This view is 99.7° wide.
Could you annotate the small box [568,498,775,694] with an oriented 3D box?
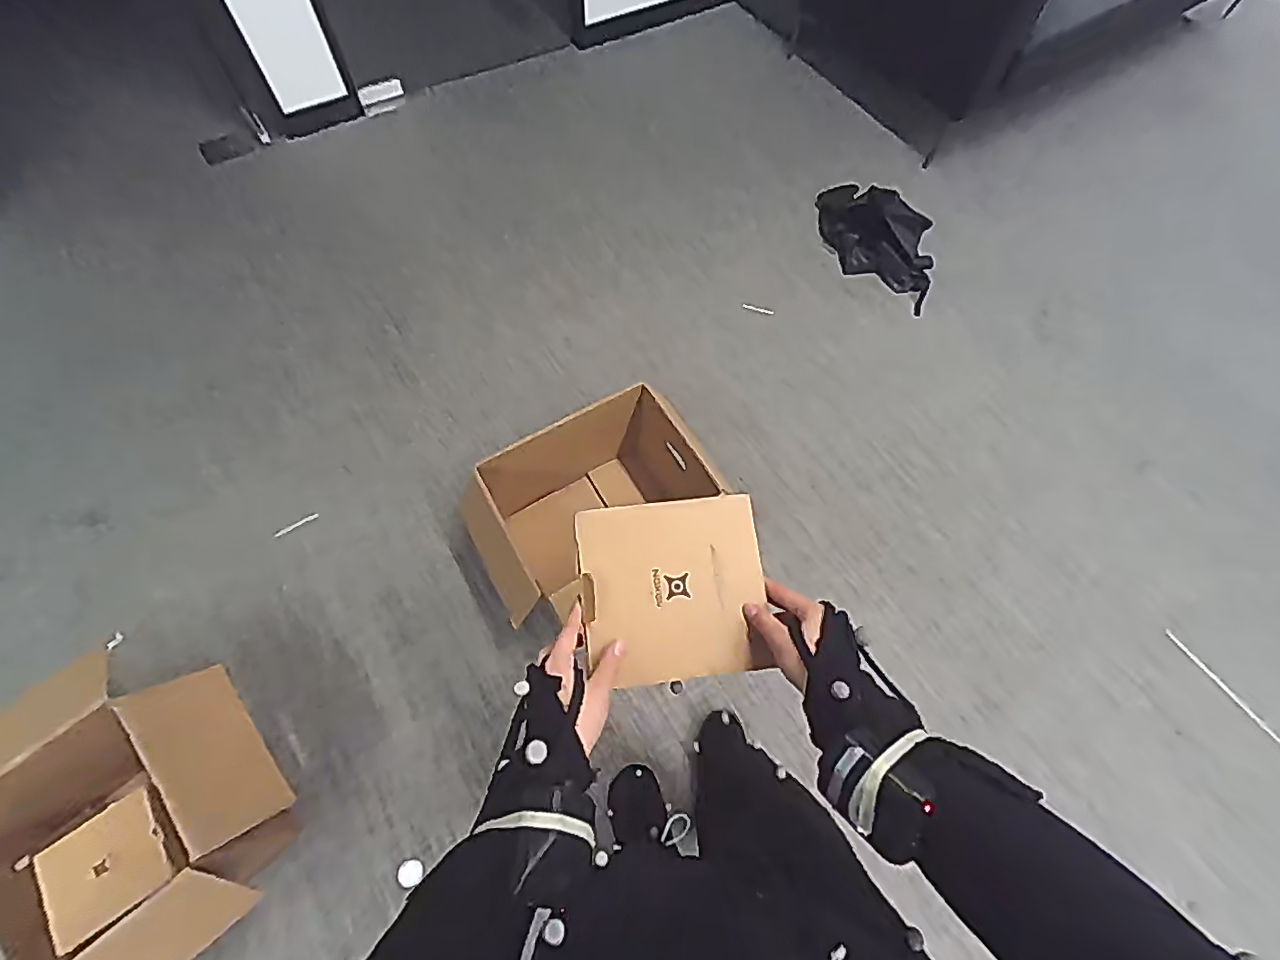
[{"bbox_3d":[0.022,0.125,0.574,0.179,0.176,0.168,-6,75,-7],"label":"small box"}]
